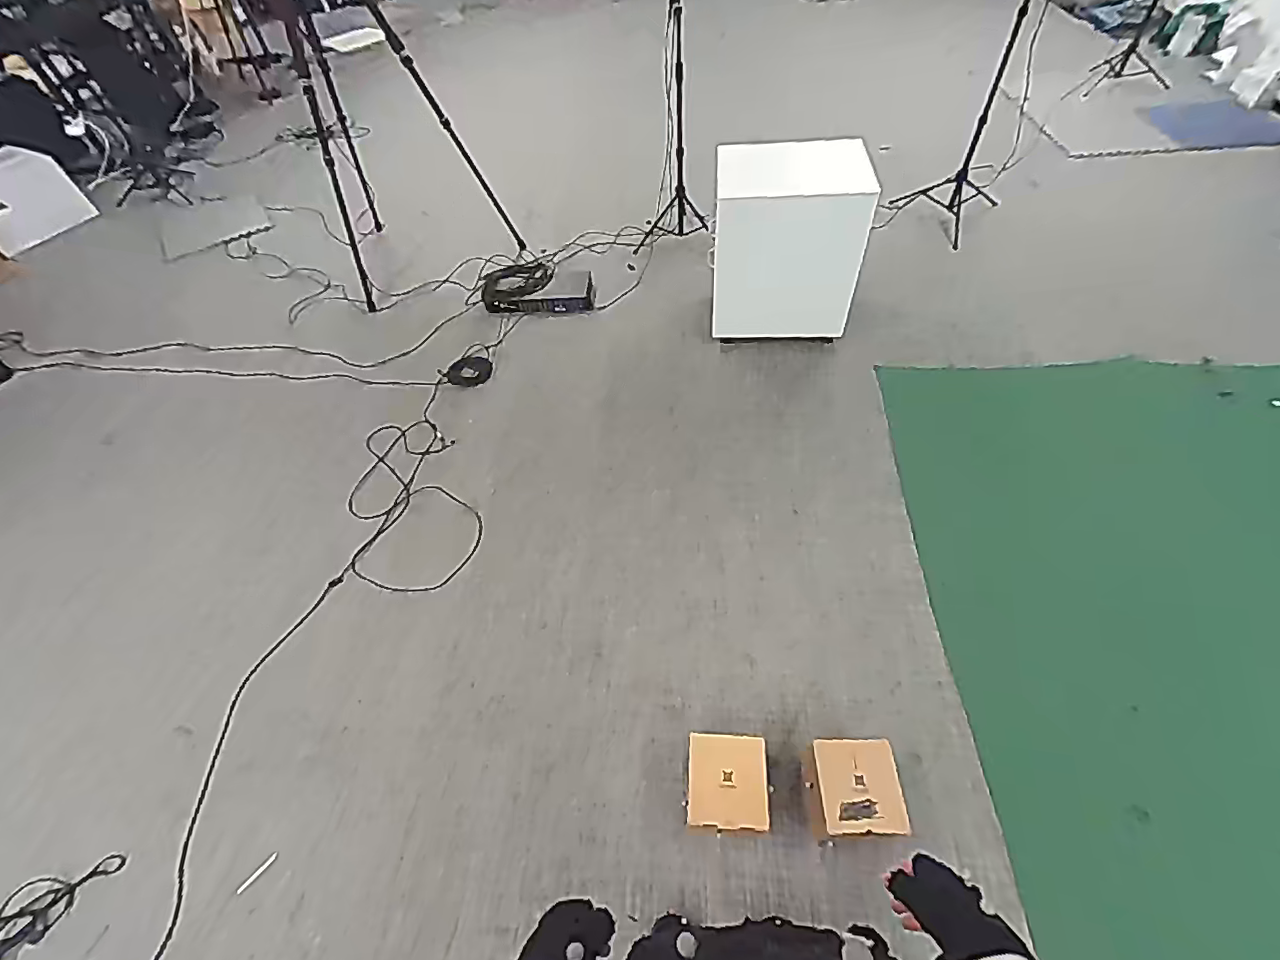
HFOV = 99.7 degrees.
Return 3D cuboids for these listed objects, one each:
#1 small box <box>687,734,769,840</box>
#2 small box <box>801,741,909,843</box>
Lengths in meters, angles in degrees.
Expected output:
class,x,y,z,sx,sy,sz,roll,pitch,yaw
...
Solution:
class,x,y,z,sx,sy,sz,roll,pitch,yaw
small box,0.190,0.684,1.202,0.168,0.176,0.179,1,54,6
small box,0.457,0.681,1.177,0.168,0.176,0.179,-2,52,4
